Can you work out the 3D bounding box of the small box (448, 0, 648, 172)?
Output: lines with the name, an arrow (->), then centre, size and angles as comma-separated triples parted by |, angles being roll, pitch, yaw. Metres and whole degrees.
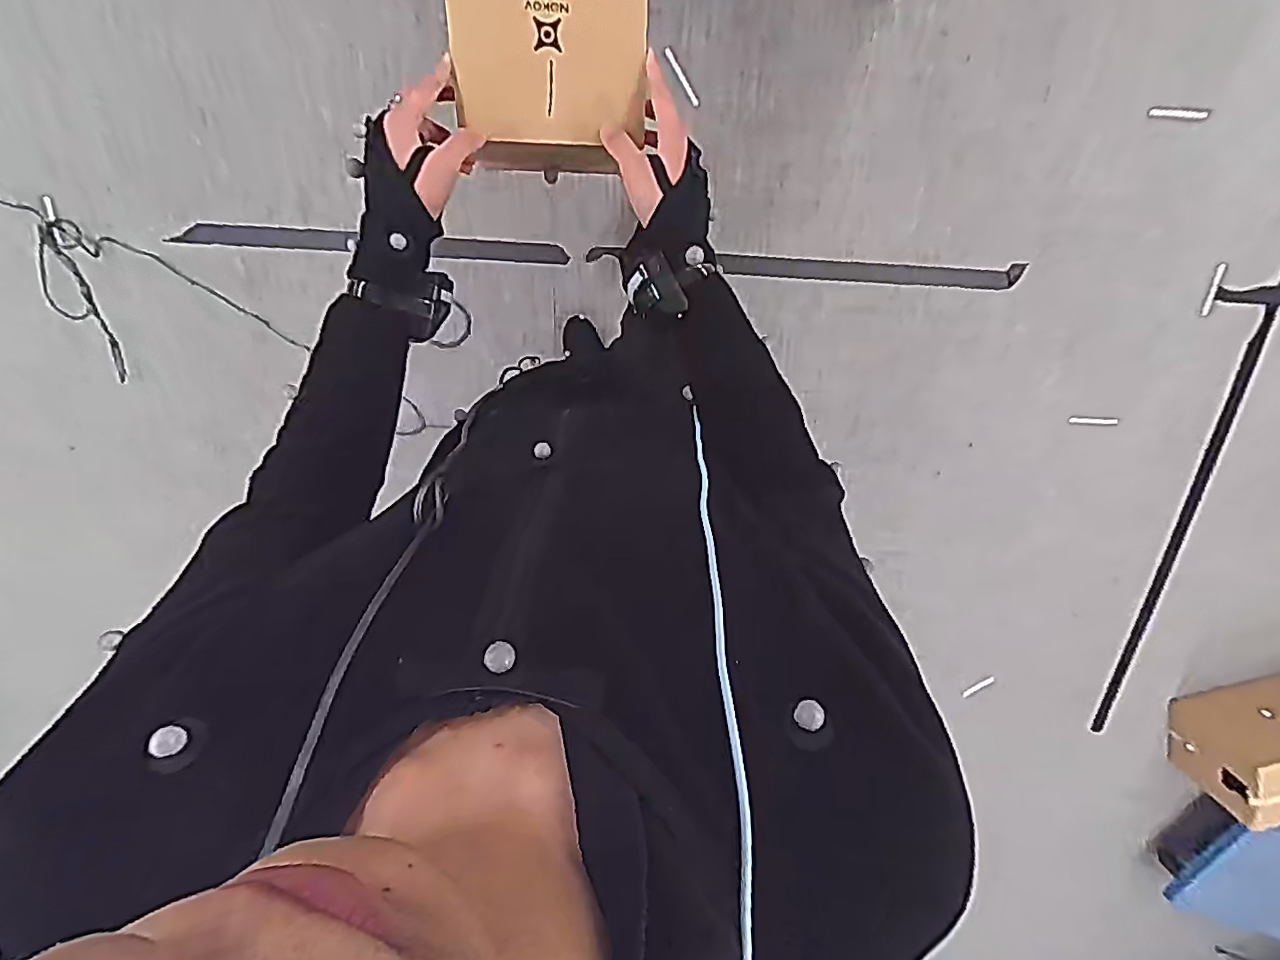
small box -> -0.085, -0.411, 0.519 | 0.168, 0.176, 0.179 | -2, 113, -7
